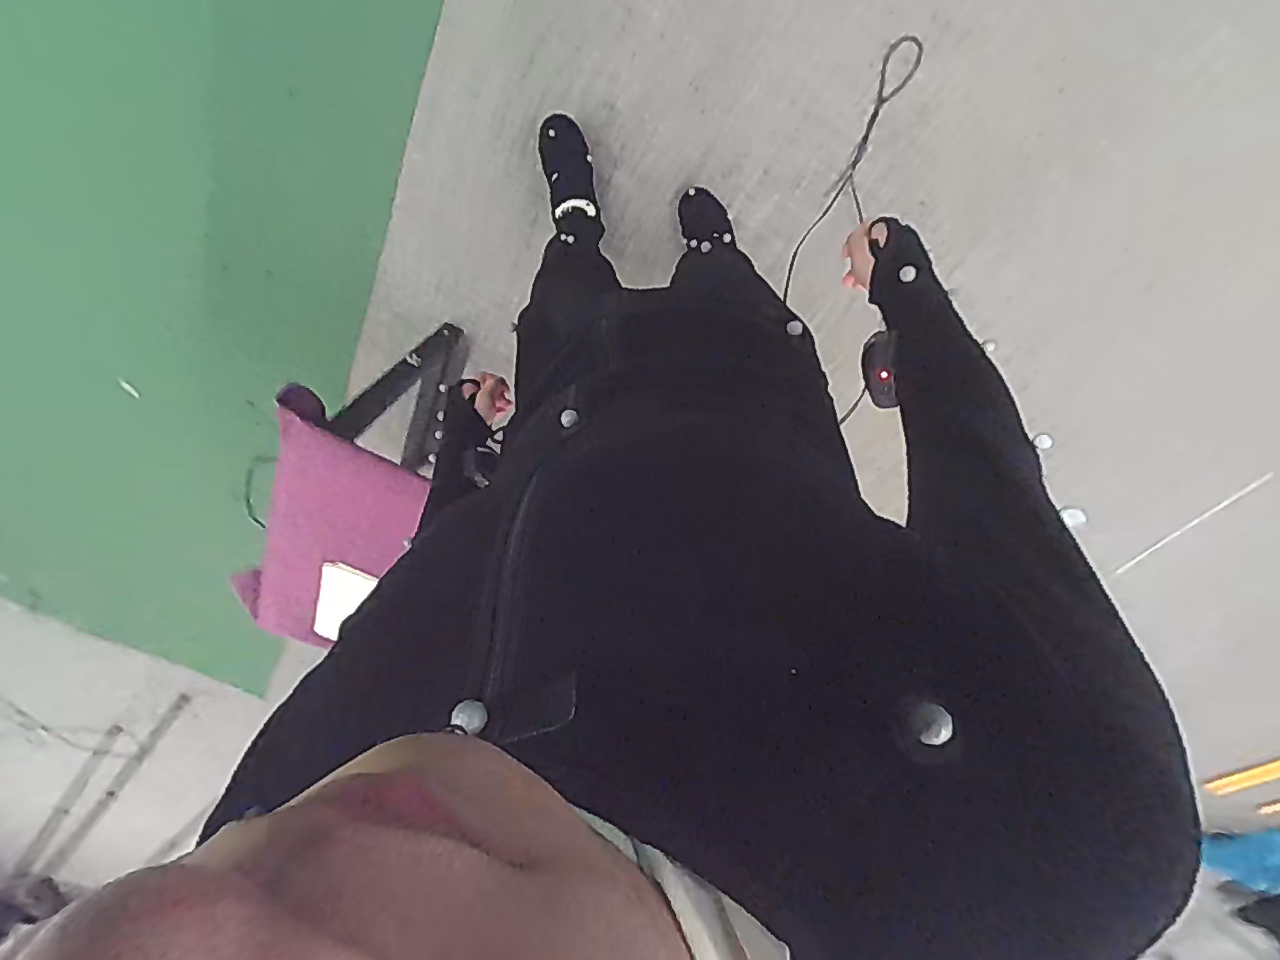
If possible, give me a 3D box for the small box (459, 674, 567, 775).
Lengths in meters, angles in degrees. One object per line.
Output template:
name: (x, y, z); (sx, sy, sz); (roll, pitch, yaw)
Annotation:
small box: (-0.281, 0.578, 1.227); (0.168, 0.176, 0.179); (27, 122, -10)
